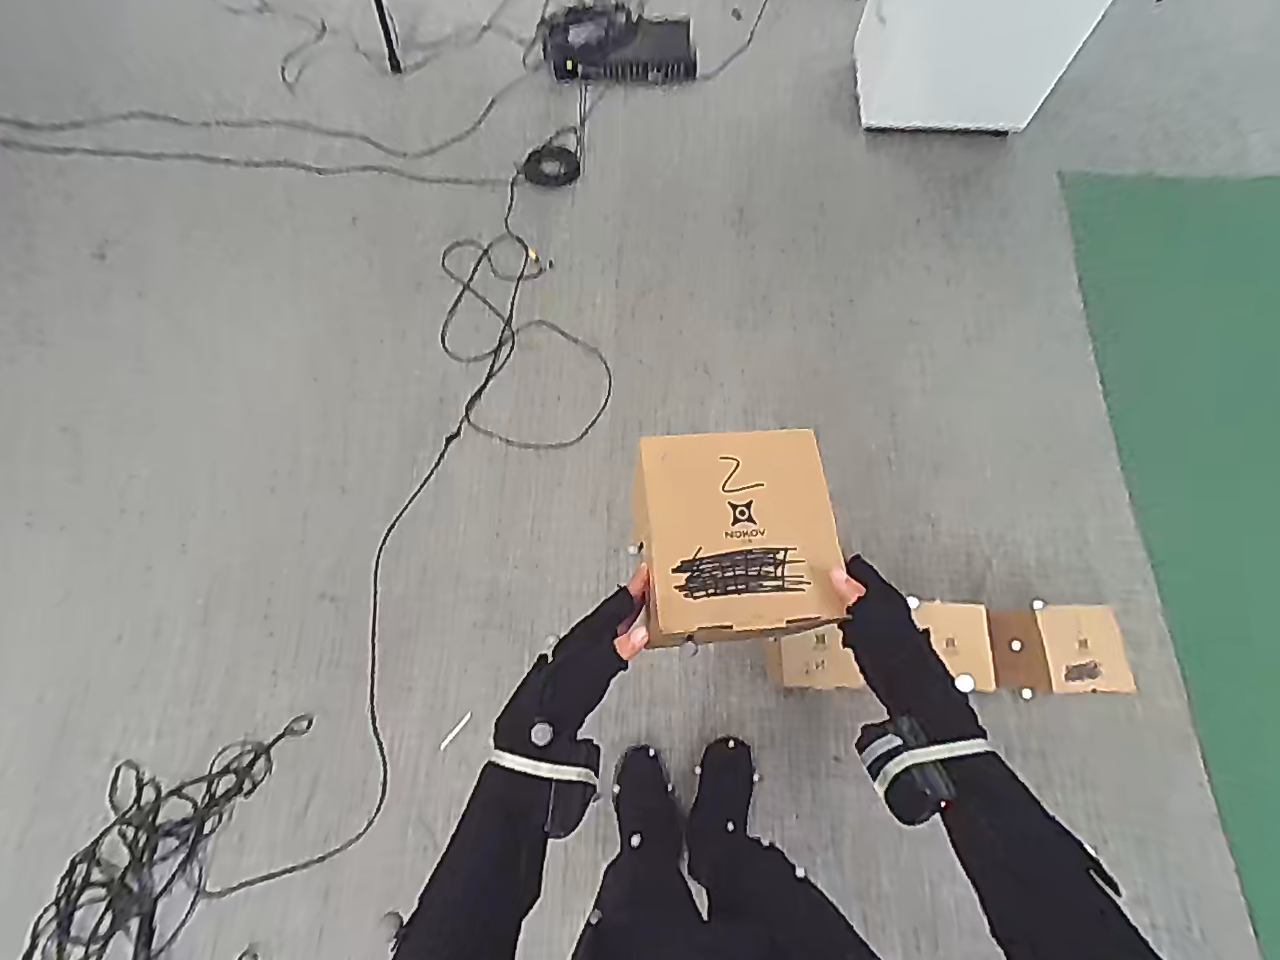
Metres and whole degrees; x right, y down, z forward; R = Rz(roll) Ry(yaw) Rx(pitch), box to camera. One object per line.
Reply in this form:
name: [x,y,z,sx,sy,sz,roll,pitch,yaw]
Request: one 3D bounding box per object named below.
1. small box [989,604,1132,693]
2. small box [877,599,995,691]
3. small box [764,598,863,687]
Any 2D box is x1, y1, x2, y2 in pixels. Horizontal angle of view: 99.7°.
small box: [0.912,0.369,1.190,0.168,0.176,0.179,-1,71,1]
small box: [0.643,0.366,1.197,0.168,0.176,0.179,2,72,2]
small box: [0.375,0.361,1.200,0.168,0.176,0.179,0,72,2]
